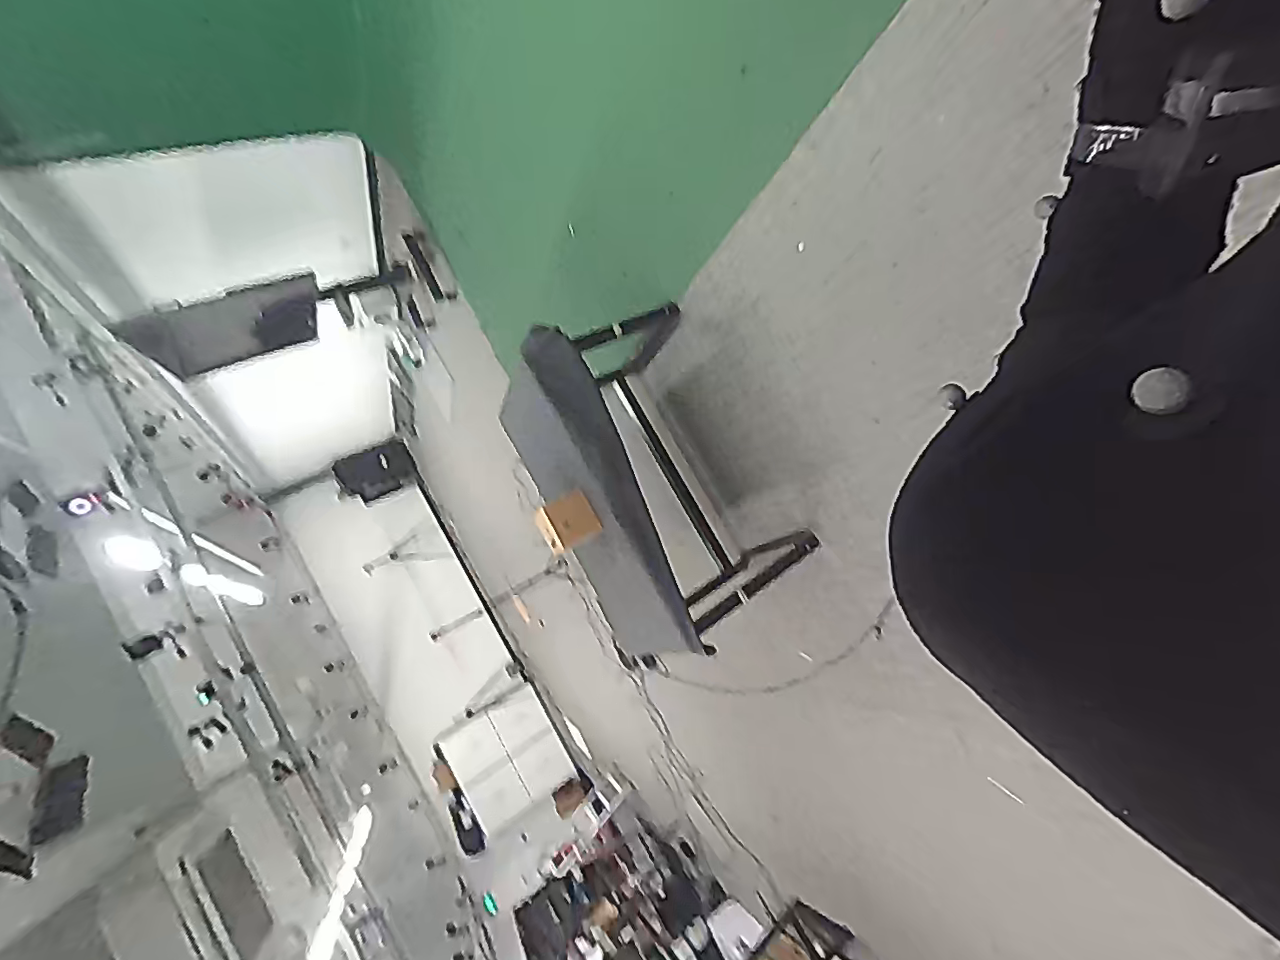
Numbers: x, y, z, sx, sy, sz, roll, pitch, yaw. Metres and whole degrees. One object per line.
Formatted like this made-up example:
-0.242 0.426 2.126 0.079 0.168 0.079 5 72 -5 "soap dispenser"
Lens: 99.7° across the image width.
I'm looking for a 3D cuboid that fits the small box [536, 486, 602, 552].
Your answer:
-0.265 0.146 2.033 0.179 0.176 0.168 61 153 5 "small box"
